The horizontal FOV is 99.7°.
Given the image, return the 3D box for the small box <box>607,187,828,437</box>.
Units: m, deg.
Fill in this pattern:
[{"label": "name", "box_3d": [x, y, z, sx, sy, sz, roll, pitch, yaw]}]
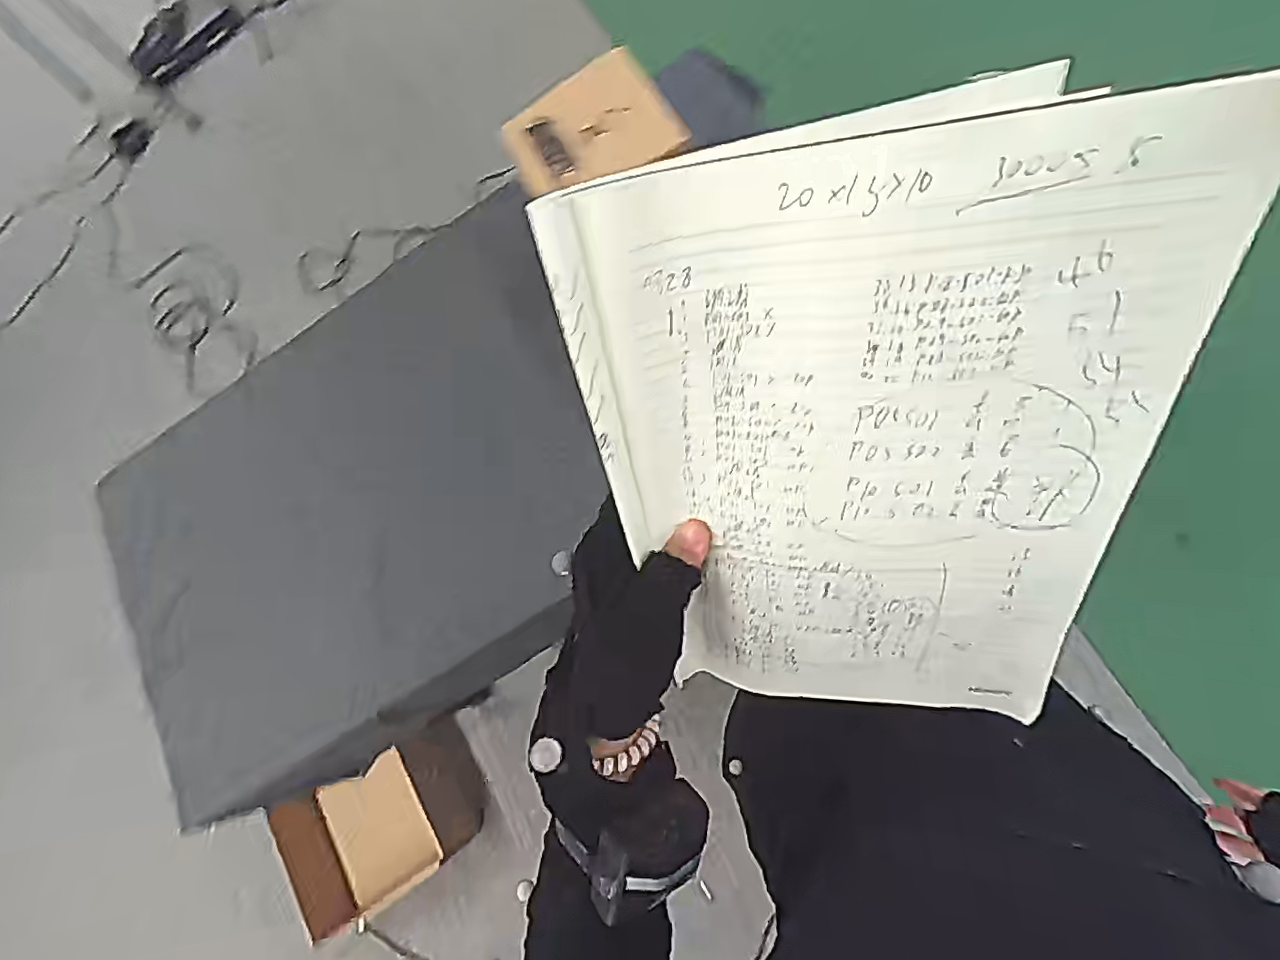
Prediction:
[{"label": "small box", "box_3d": [0.088, -0.175, 0.615, 0.168, 0.176, 0.179, -30, 73, 7]}]
